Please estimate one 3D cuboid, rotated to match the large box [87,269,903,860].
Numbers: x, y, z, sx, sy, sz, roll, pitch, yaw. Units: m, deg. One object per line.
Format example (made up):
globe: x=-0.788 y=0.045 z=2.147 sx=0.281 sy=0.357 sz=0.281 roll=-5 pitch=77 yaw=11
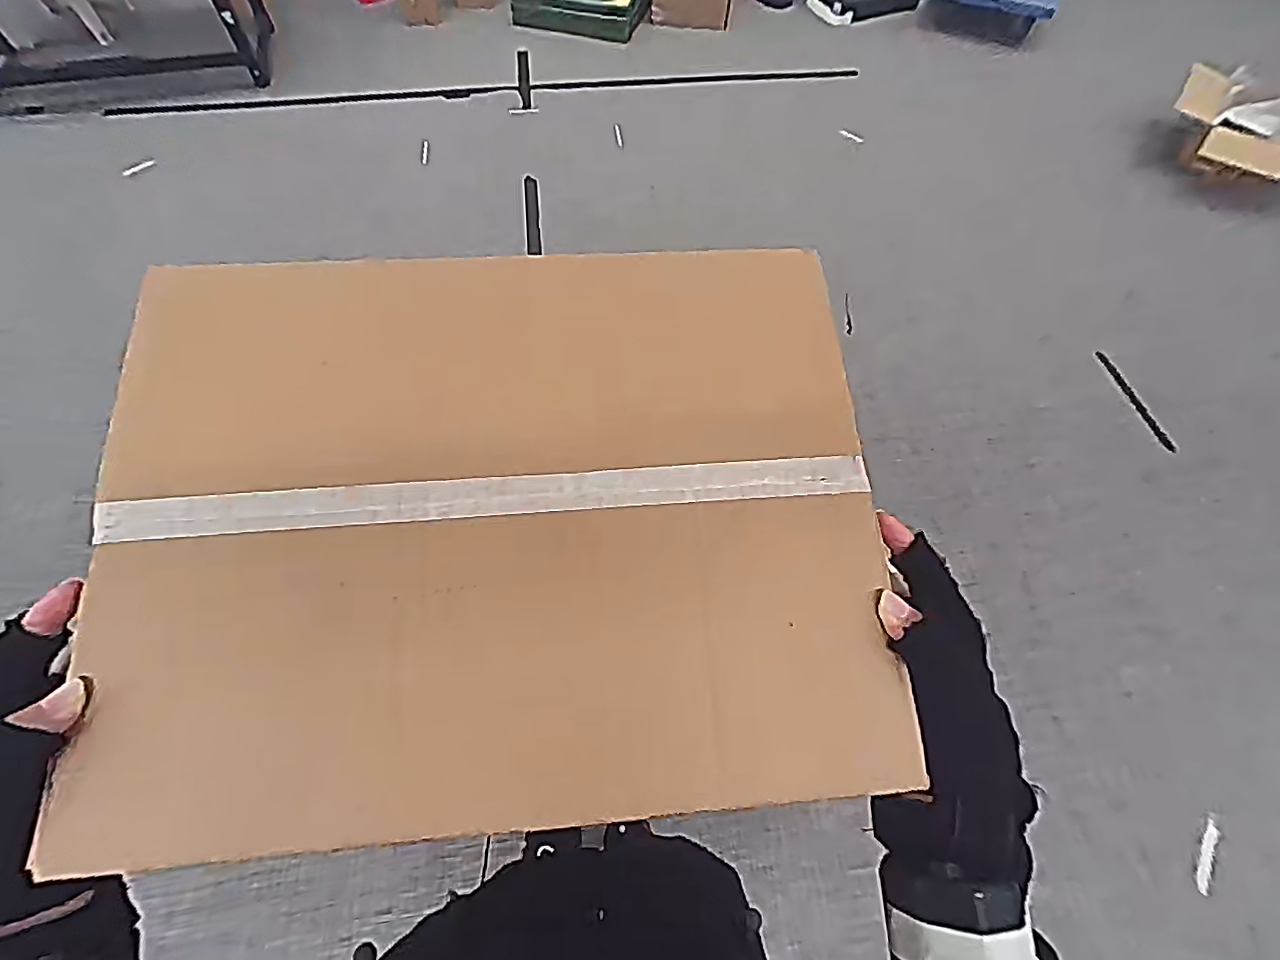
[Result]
large box: x=-0.081 y=0.060 z=0.448 sx=0.408 sy=0.320 sz=0.320 roll=-3 pitch=74 yaw=-4
